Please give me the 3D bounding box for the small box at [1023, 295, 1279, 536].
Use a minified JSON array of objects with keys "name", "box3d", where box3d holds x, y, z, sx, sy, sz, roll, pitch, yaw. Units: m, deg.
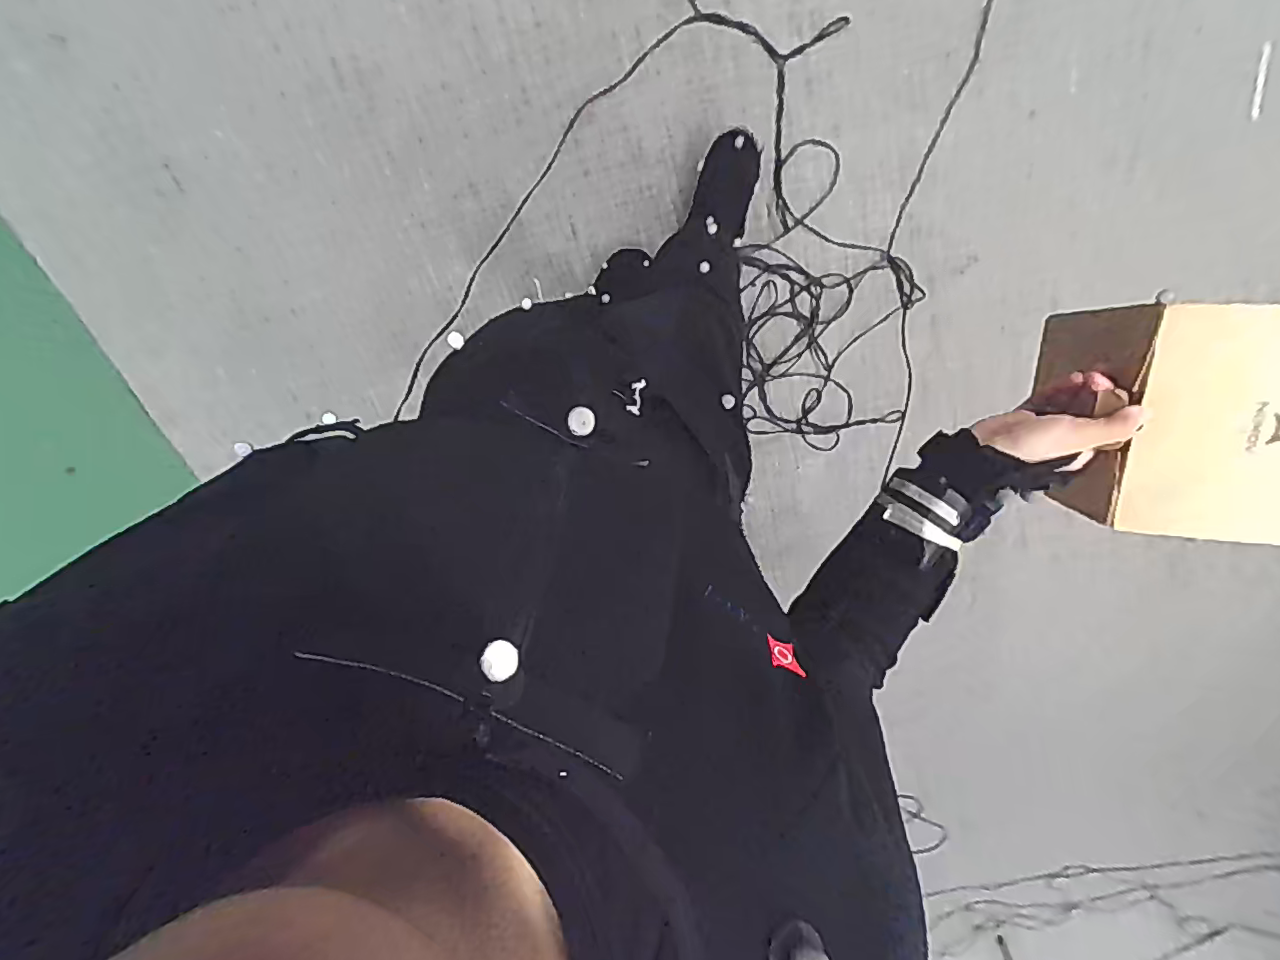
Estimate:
[{"name":"small box","box3d":[0.454,-0.058,0.444,0.179,0.176,0.168,3,104,12]}]
